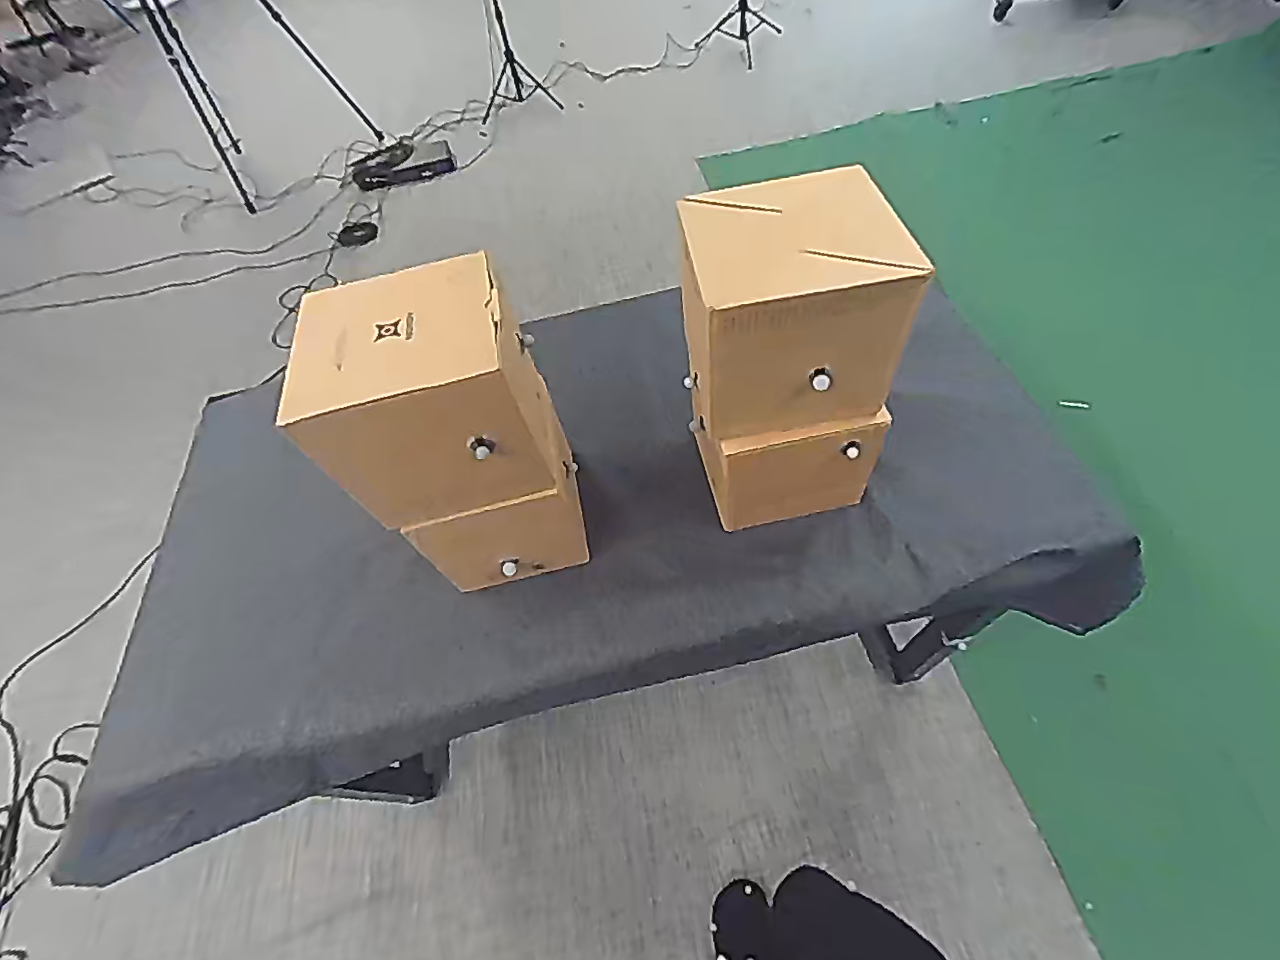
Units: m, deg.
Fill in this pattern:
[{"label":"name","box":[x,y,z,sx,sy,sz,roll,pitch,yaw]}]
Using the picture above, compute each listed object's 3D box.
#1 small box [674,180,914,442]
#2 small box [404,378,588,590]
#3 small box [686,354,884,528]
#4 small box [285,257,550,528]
[{"label":"small box","box":[0.135,-0.163,0.528,0.179,0.176,0.168,-9,55,2]},{"label":"small box","box":[-0.168,0.010,0.658,0.168,0.176,0.179,-14,57,-1]},{"label":"small box","box":[0.162,-0.060,0.658,0.179,0.176,0.168,-12,56,0]},{"label":"small box","box":[-0.194,-0.077,0.523,0.179,0.176,0.168,-15,55,-1]}]
